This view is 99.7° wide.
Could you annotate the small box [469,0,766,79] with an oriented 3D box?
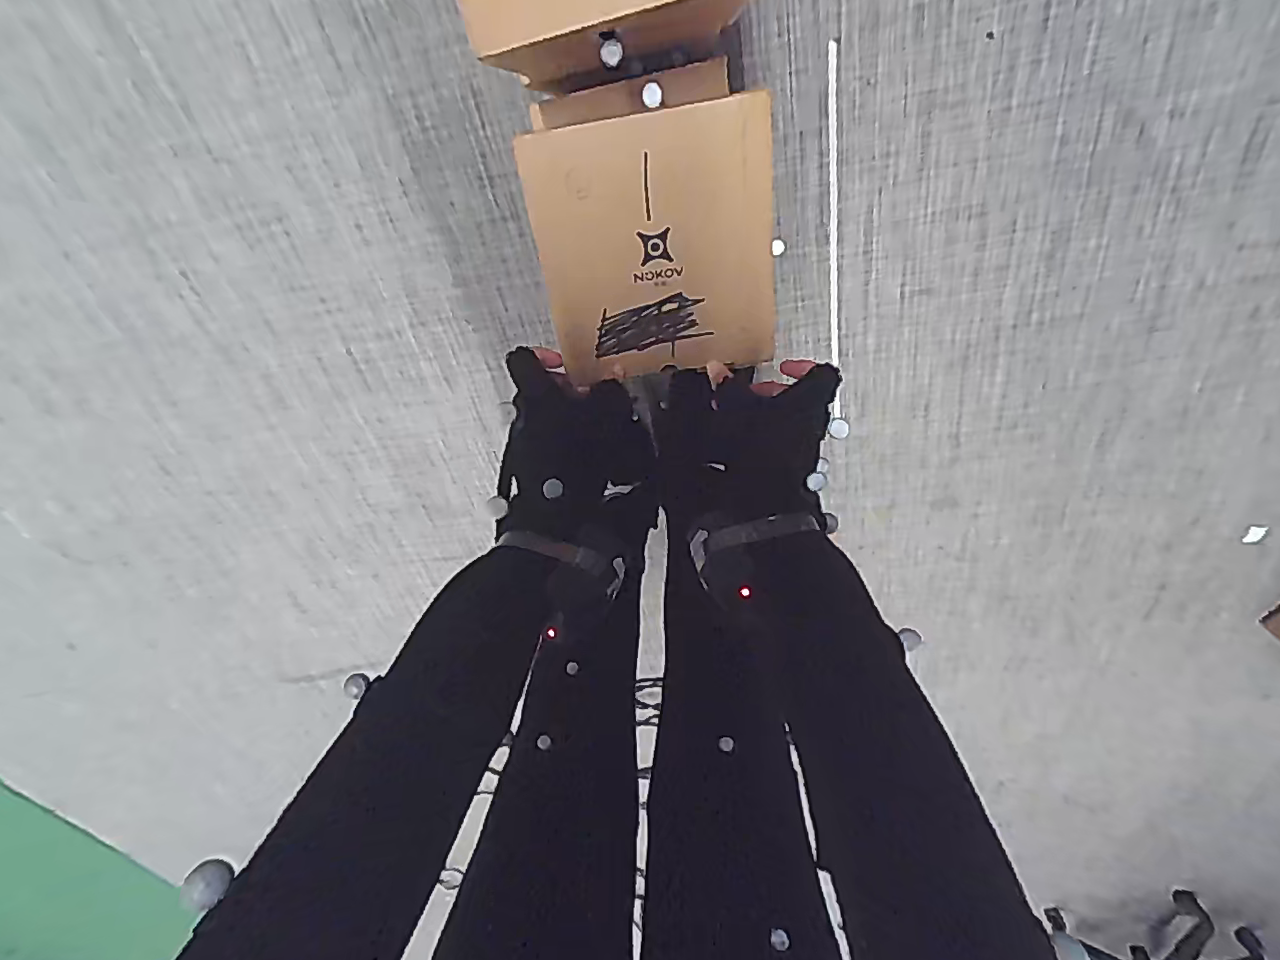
[{"bbox_3d":[-0.021,-0.375,0.341,0.179,0.176,0.168,-8,123,10],"label":"small box"}]
